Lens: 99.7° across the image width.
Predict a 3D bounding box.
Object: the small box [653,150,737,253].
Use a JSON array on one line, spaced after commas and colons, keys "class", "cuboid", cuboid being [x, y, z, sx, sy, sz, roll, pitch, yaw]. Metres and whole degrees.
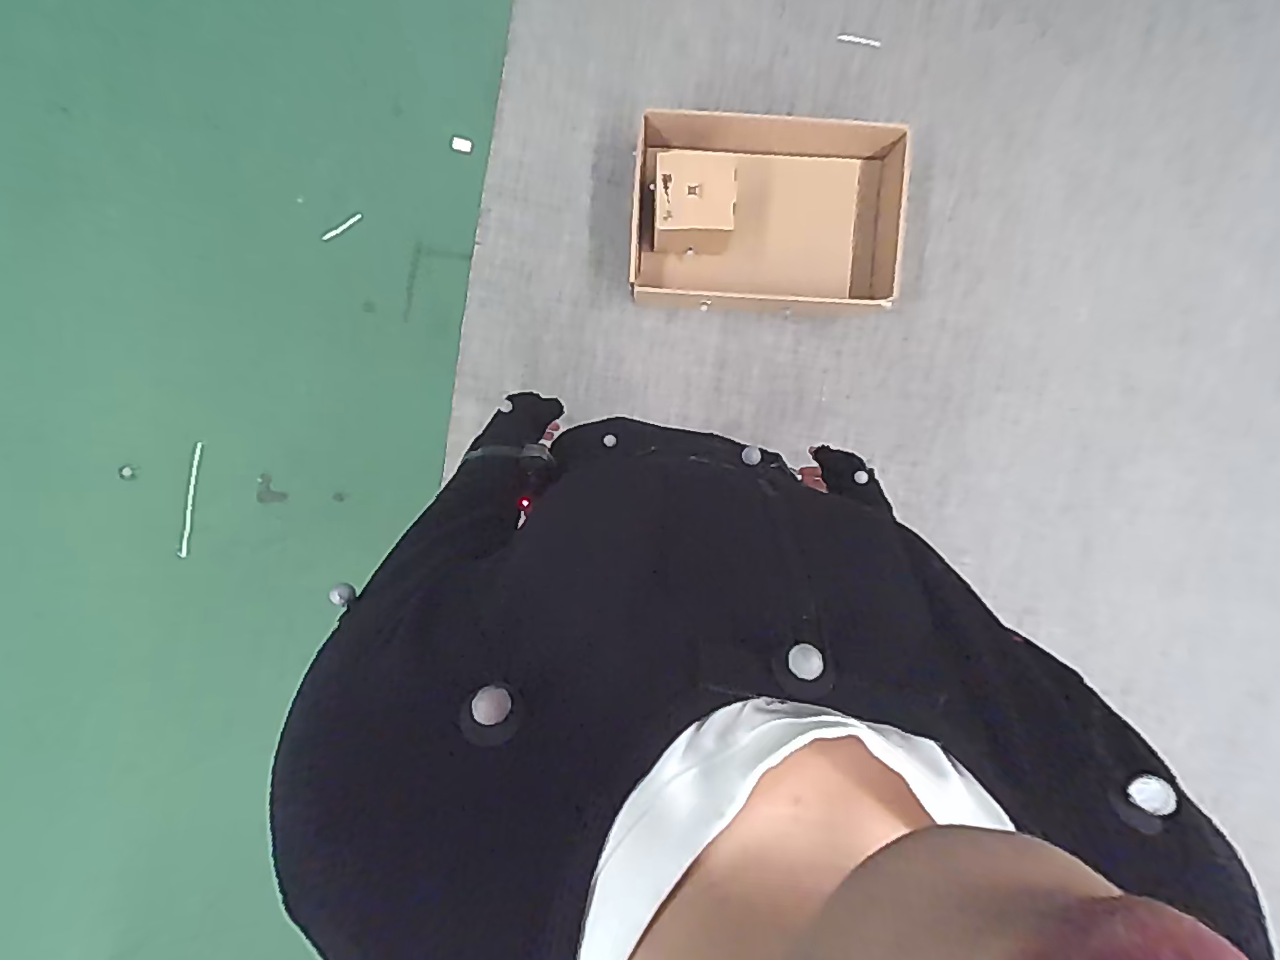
[{"class": "small box", "cuboid": [0.124, -0.648, 1.275, 0.179, 0.176, 0.168, 0, 94, -2]}]
